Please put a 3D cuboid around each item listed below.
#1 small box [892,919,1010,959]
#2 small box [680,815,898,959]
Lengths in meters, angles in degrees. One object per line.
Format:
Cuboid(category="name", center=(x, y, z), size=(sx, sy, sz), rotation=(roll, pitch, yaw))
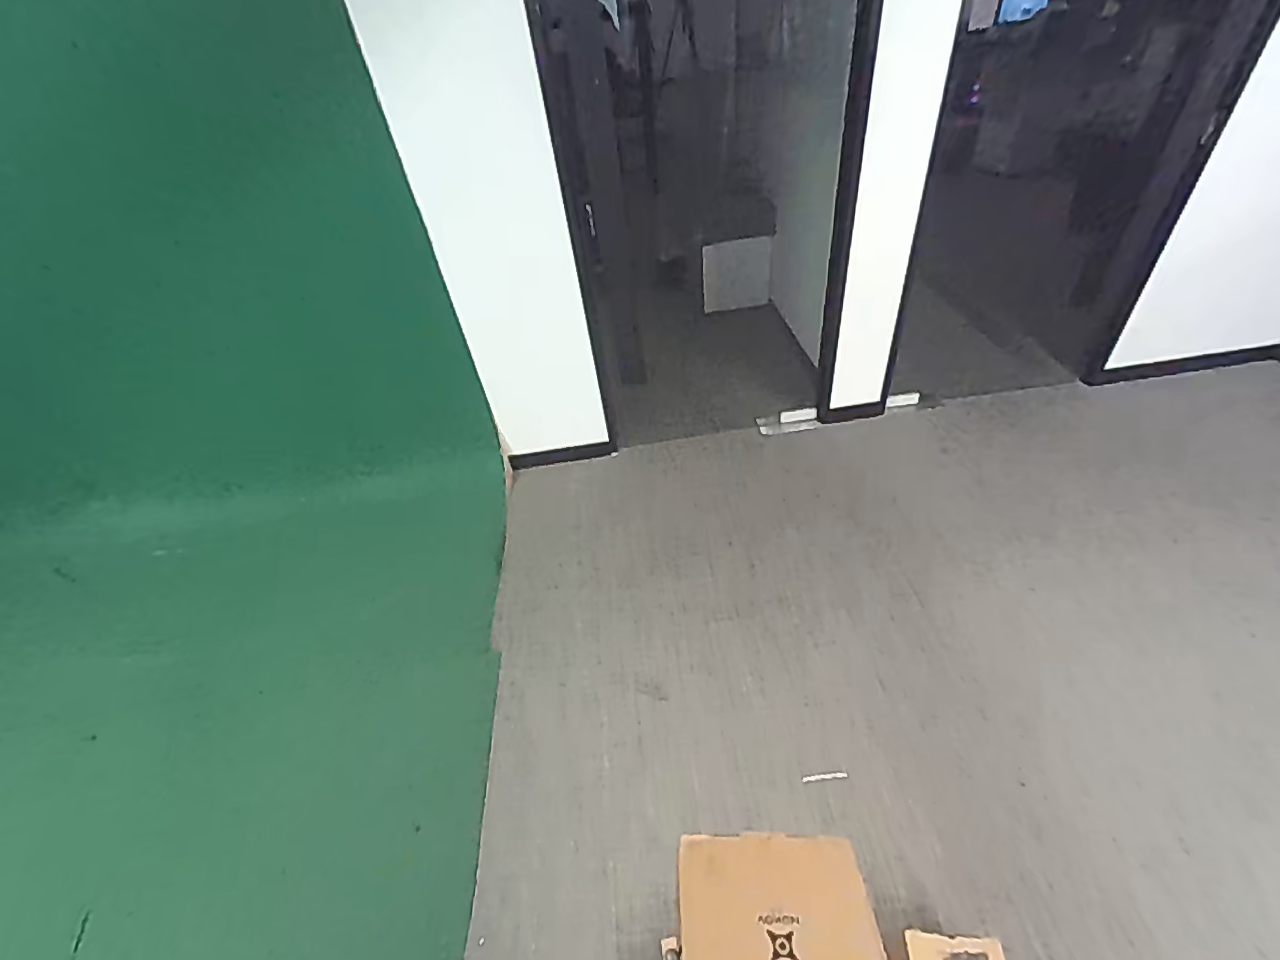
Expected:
Cuboid(category="small box", center=(0.570, 0.929, 0.976), size=(0.168, 0.176, 0.179), rotation=(-2, 42, 9))
Cuboid(category="small box", center=(0.120, 0.431, 0.474), size=(0.168, 0.176, 0.179), rotation=(-2, 26, 2))
